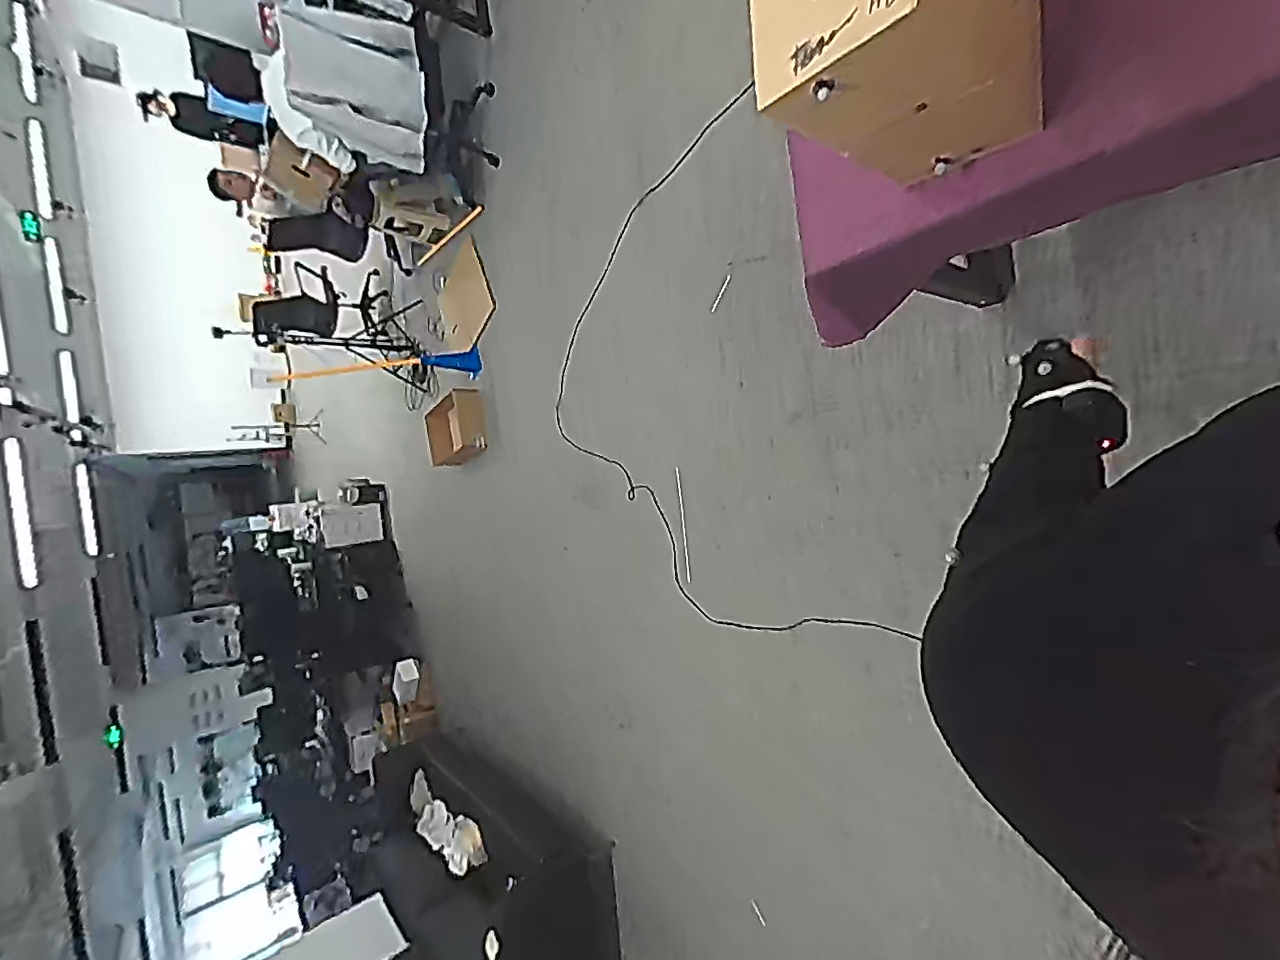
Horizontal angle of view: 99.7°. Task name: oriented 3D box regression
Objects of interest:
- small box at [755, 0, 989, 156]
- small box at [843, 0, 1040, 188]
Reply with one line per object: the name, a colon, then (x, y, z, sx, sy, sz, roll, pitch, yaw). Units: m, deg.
small box: (0.237, -0.477, 0.555, 0.168, 0.176, 0.179, 0, 94, 52)
small box: (0.365, -0.492, 0.659, 0.168, 0.176, 0.179, 1, 96, 51)
